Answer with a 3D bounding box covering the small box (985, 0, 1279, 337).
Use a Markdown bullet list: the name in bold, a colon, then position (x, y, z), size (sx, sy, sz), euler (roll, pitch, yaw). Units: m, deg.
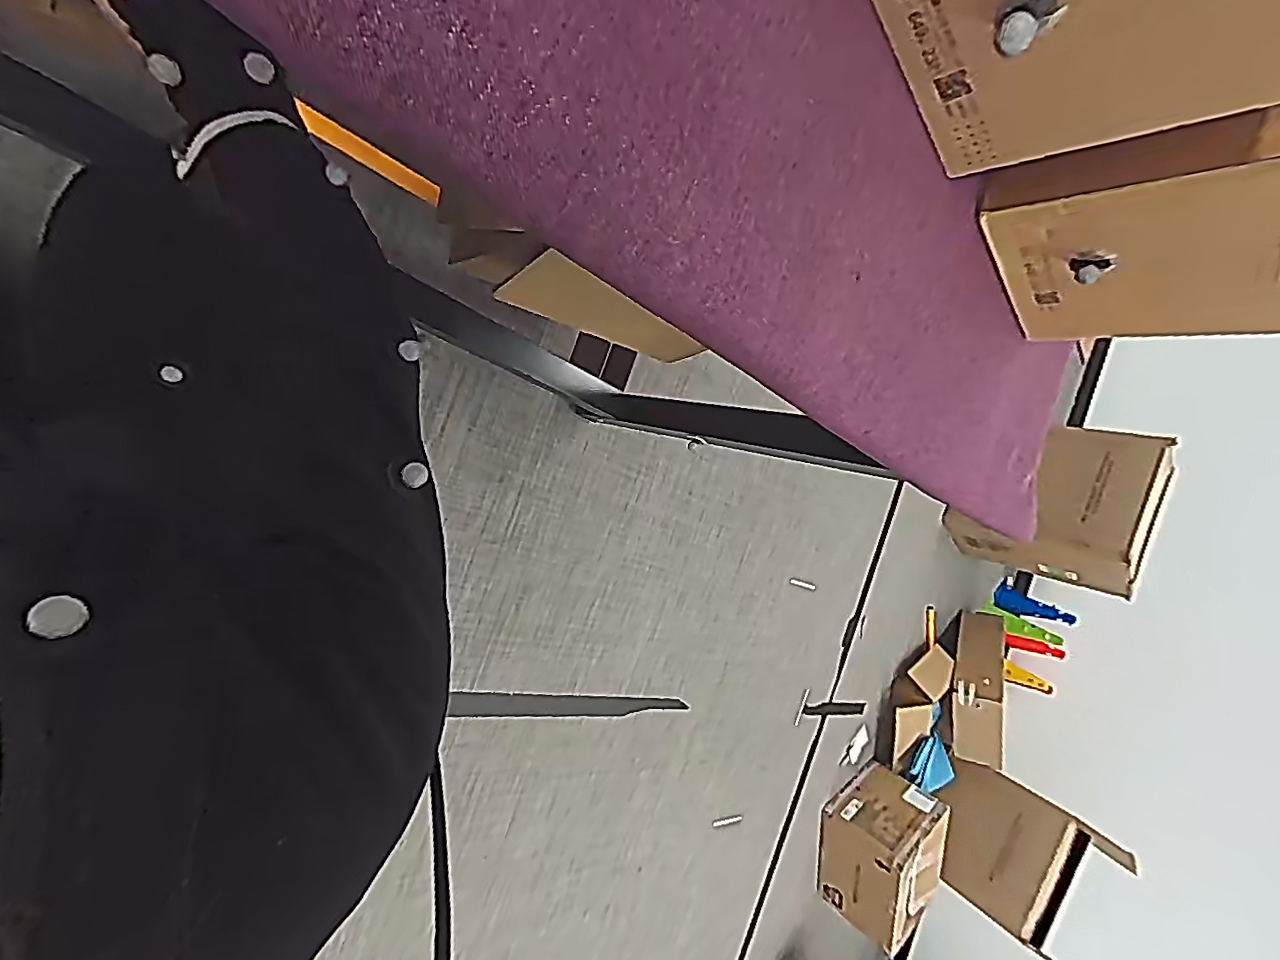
- **small box**: position (0.358, -0.212, 0.358), size (0.168, 0.176, 0.179), euler (27, 83, -41)
